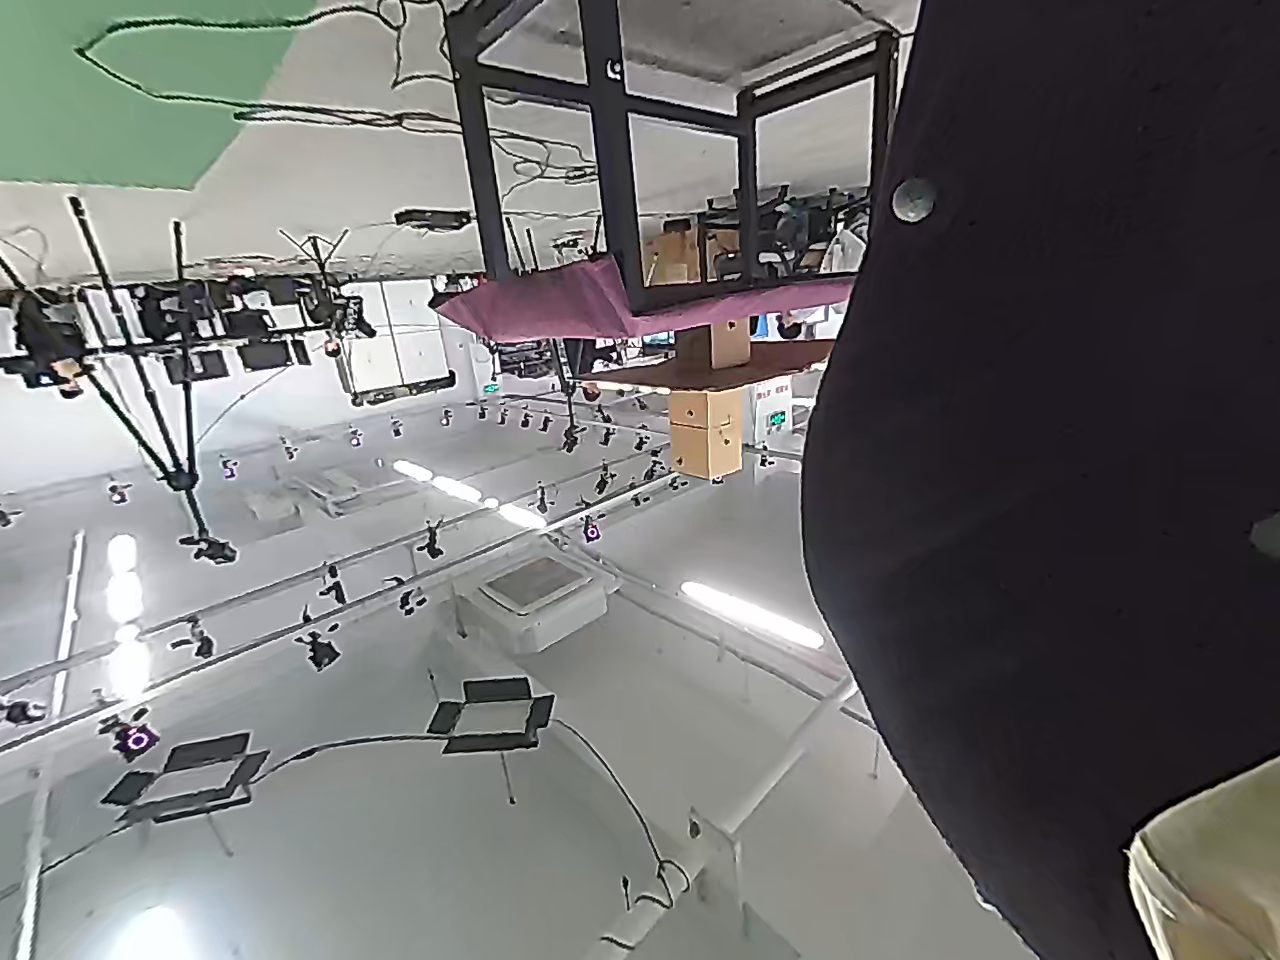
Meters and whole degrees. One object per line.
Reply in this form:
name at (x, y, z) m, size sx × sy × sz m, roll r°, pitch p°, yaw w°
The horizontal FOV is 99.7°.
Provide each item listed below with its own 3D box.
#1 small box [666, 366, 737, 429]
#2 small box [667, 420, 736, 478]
small box at (0.195, -0.273, 1.745) m, size 0.168 × 0.176 × 0.179 m, roll -17°, pitch -157°, yaw -38°
small box at (0.204, -0.117, 1.798) m, size 0.168 × 0.176 × 0.179 m, roll -18°, pitch -158°, yaw -38°
